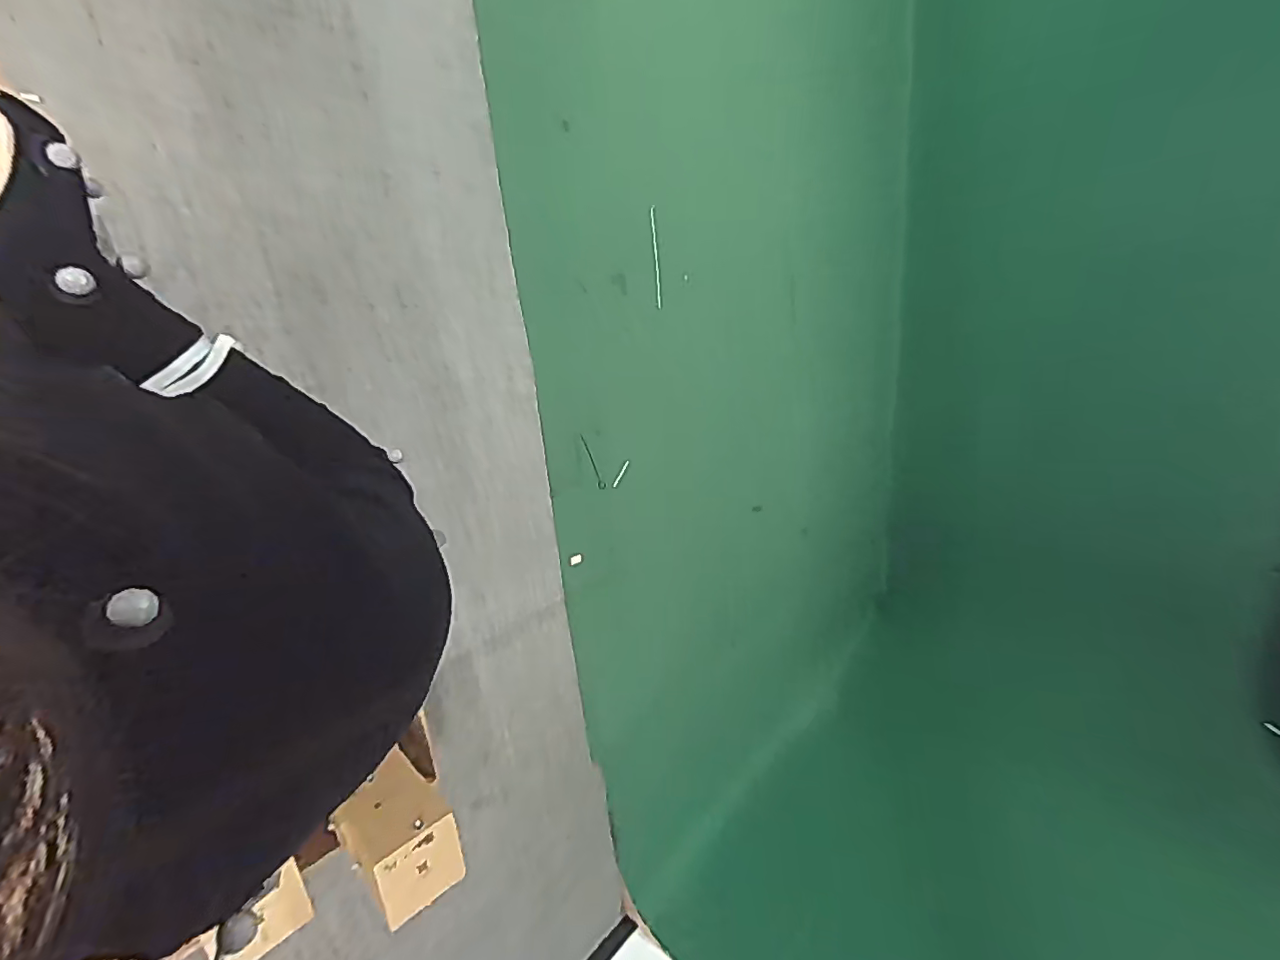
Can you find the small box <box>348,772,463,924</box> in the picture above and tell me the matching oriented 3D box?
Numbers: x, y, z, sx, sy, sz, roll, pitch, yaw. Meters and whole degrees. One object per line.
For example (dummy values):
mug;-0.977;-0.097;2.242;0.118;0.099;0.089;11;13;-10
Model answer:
small box;-0.510;0.788;1.178;0.168;0.176;0.179;-19;112;-42
